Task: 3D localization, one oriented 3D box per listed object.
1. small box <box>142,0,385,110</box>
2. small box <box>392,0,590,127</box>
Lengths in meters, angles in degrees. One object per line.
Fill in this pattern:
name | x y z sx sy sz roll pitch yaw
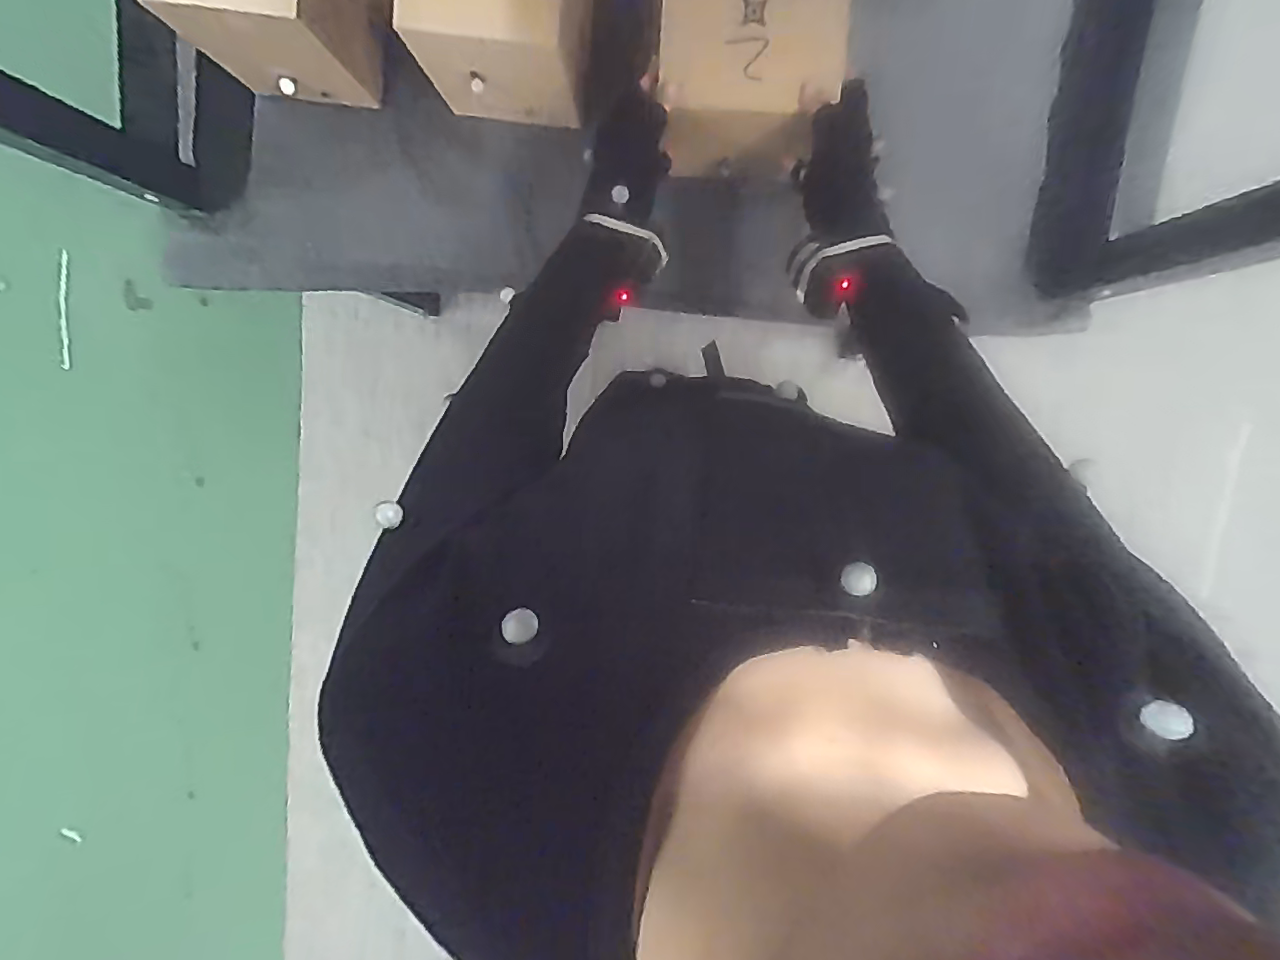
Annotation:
small box | -0.402 -0.555 0.597 0.168 0.176 0.179 7 99 1
small box | -0.151 -0.526 0.597 0.168 0.176 0.179 7 98 0
